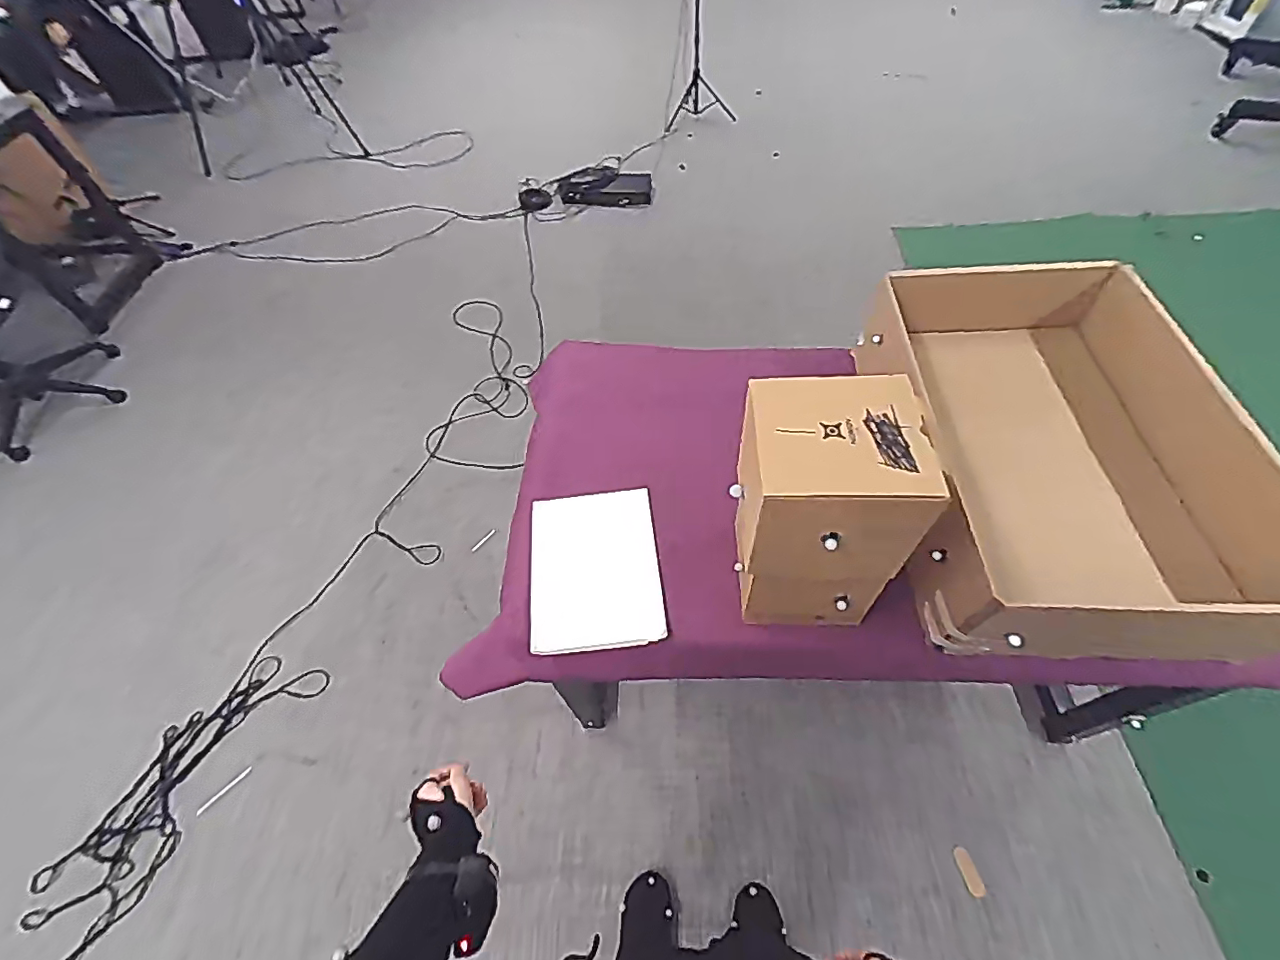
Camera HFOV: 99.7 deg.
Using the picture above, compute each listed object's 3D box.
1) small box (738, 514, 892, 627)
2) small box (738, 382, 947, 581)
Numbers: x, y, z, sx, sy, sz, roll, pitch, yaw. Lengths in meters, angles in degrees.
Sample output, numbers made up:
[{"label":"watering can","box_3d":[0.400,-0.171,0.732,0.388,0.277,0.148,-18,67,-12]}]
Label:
[{"label":"small box","box_3d":[0.229,0.095,0.758,0.168,0.176,0.179,0,52,5]},{"label":"small box","box_3d":[0.211,0.006,0.621,0.179,0.176,0.168,0,53,5]}]
